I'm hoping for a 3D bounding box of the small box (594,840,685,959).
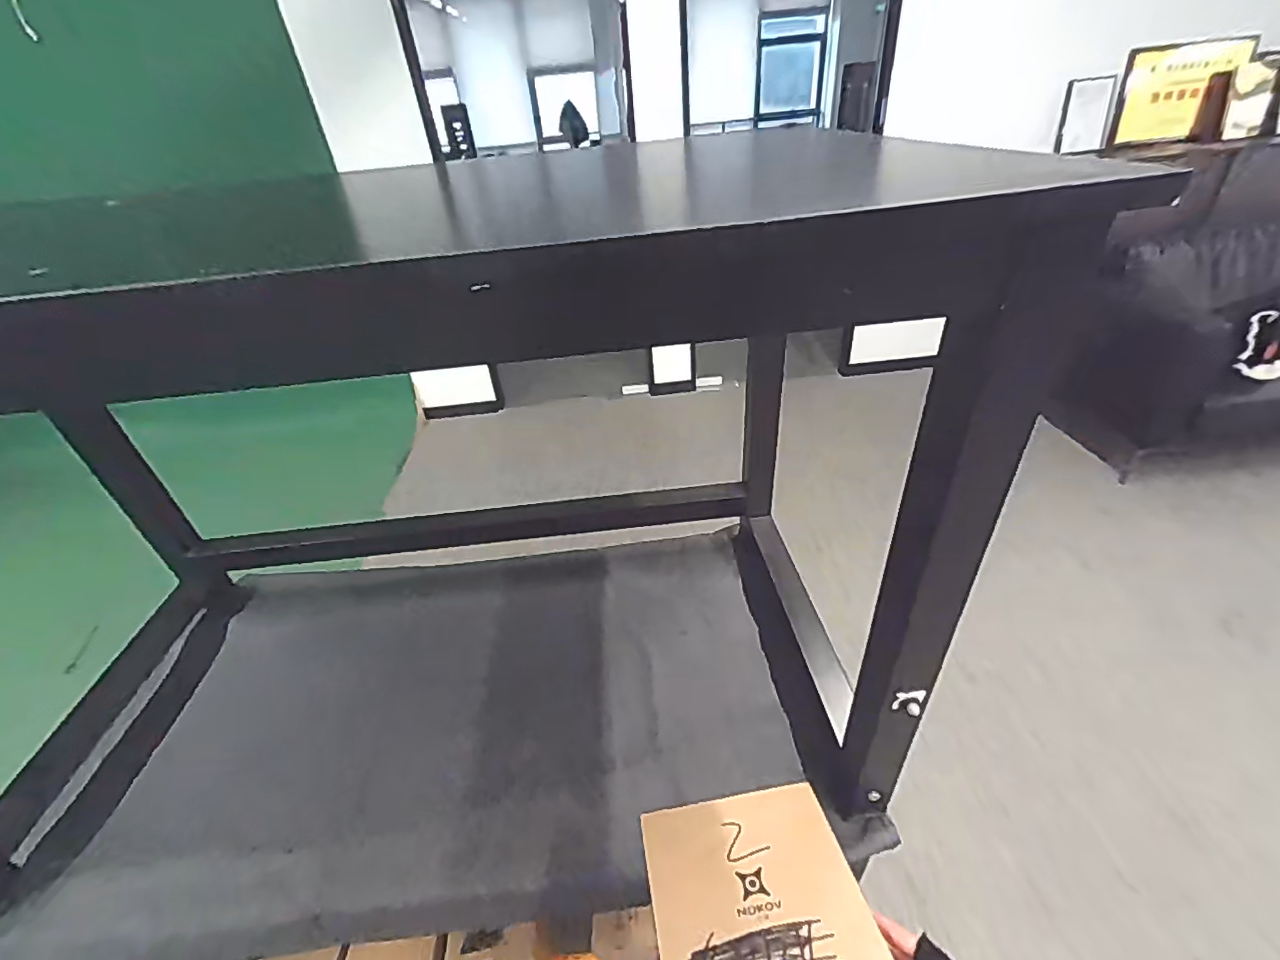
[{"bbox_3d":[0.005,0.867,1.102,0.168,0.176,0.179,-4,37,4],"label":"small box"}]
